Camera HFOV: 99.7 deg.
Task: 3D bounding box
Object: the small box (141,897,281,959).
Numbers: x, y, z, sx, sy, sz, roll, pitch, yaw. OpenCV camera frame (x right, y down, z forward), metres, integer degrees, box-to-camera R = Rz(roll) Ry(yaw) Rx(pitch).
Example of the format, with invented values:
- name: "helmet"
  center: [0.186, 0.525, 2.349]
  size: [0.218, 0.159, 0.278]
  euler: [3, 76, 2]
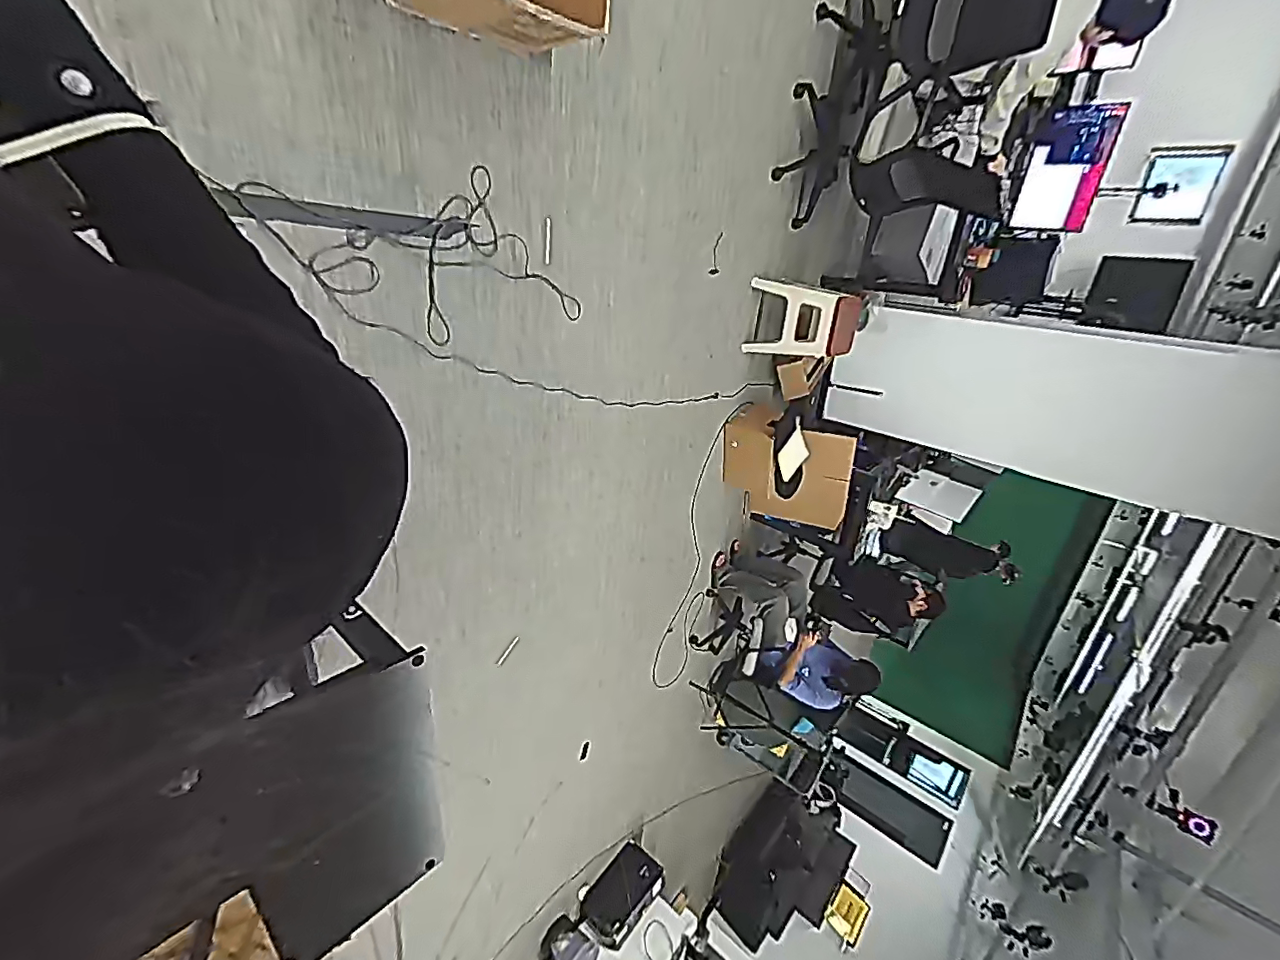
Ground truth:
- name: "small box"
  center: [-0.629, 0.783, 0.800]
  size: [0.168, 0.176, 0.179]
  euler: [-20, 123, -46]
